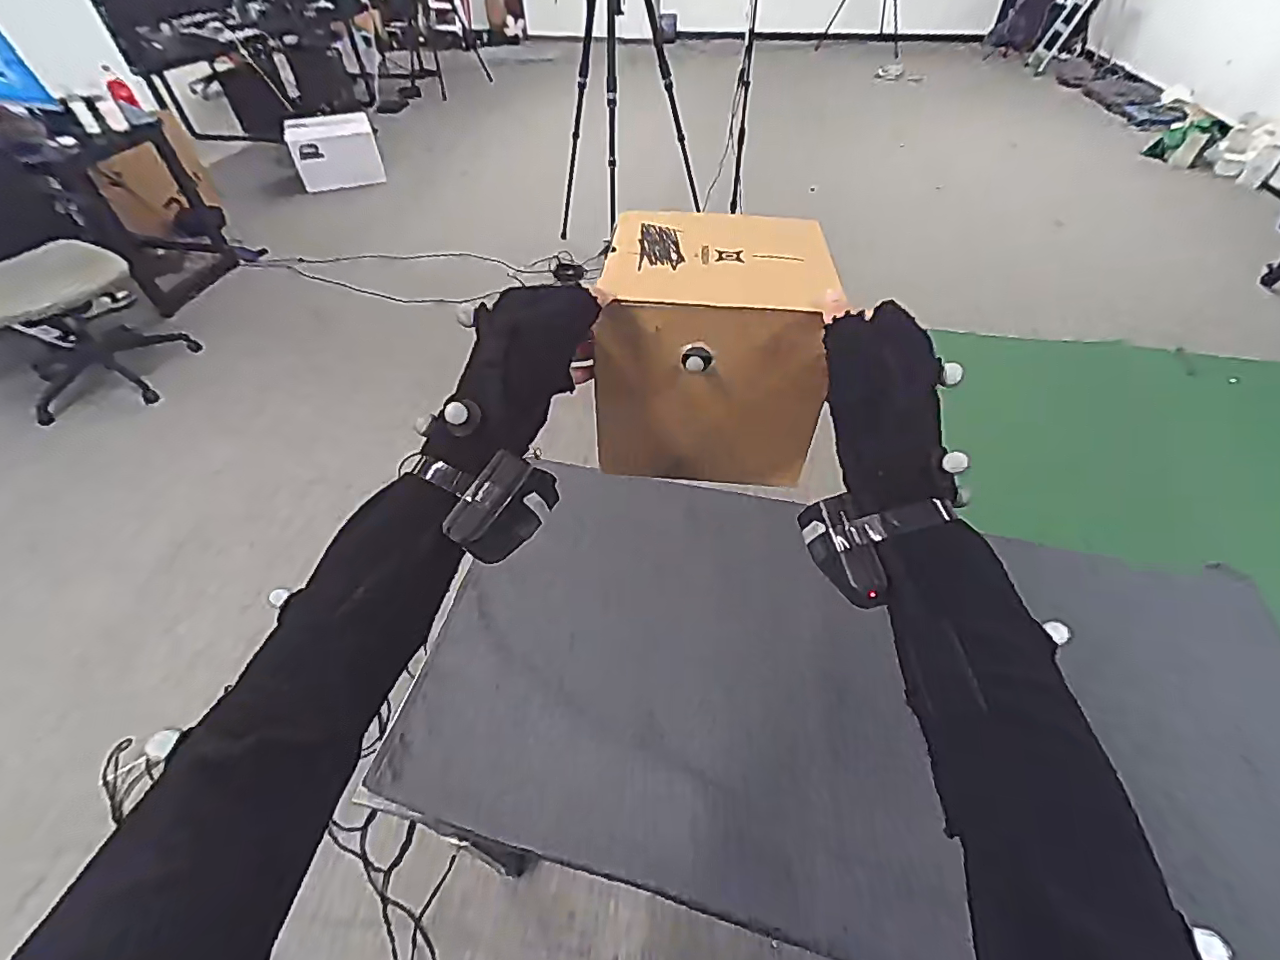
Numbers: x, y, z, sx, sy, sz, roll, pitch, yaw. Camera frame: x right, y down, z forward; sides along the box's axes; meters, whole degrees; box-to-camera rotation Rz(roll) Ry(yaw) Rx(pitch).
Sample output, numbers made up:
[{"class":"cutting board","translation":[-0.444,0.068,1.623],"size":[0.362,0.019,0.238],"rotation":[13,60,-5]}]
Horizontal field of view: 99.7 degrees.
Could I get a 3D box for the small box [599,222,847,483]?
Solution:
[{"class":"small box","translation":[0.063,-0.113,0.486],"size":[0.179,0.176,0.168],"rotation":[5,45,2]}]
